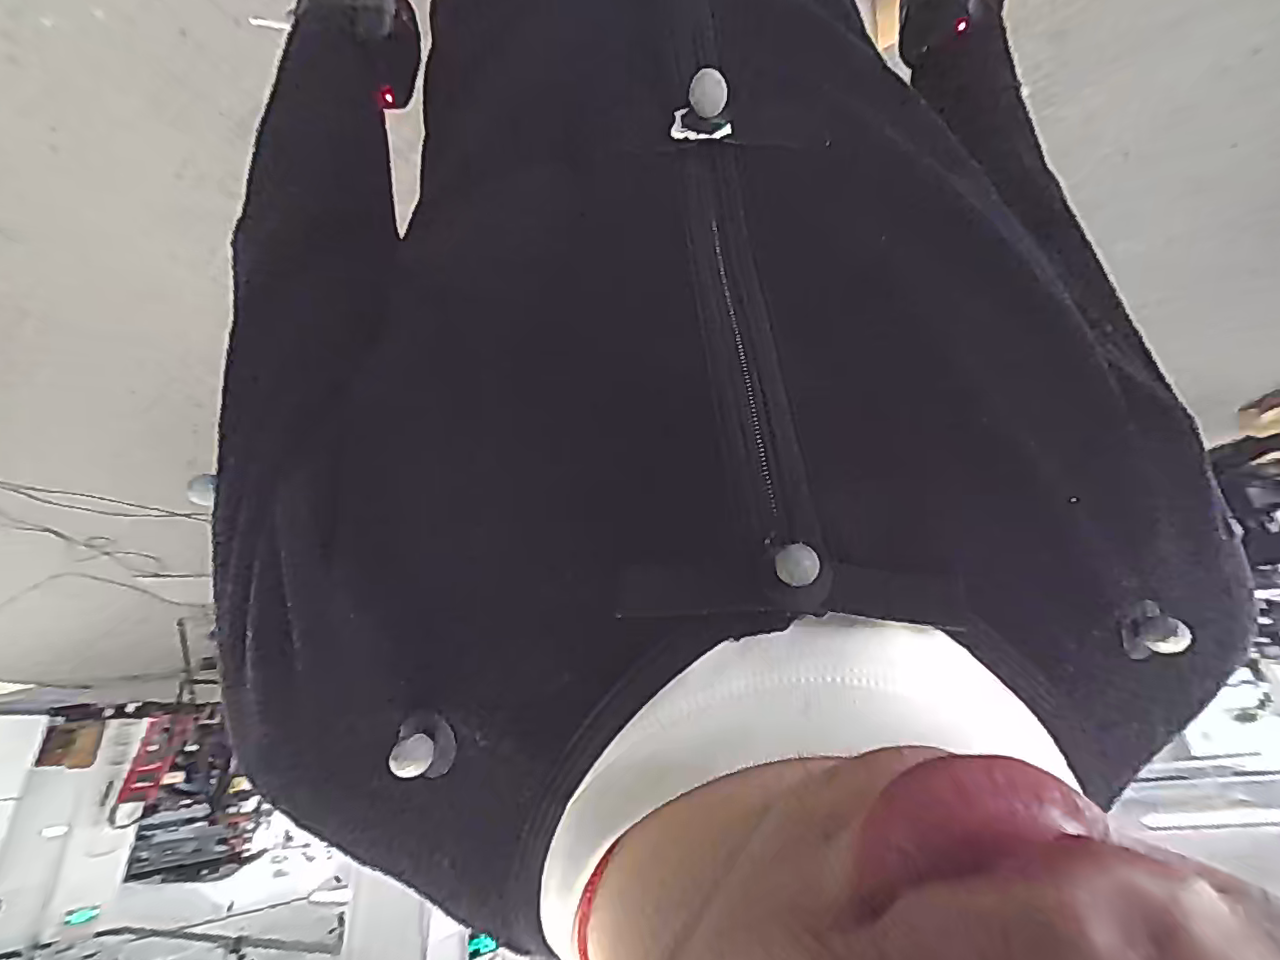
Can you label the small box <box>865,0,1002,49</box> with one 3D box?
[{"bbox_3d":[0.310,-0.600,0.555,0.168,0.179,0.176,-13,172,28],"label":"small box"}]
